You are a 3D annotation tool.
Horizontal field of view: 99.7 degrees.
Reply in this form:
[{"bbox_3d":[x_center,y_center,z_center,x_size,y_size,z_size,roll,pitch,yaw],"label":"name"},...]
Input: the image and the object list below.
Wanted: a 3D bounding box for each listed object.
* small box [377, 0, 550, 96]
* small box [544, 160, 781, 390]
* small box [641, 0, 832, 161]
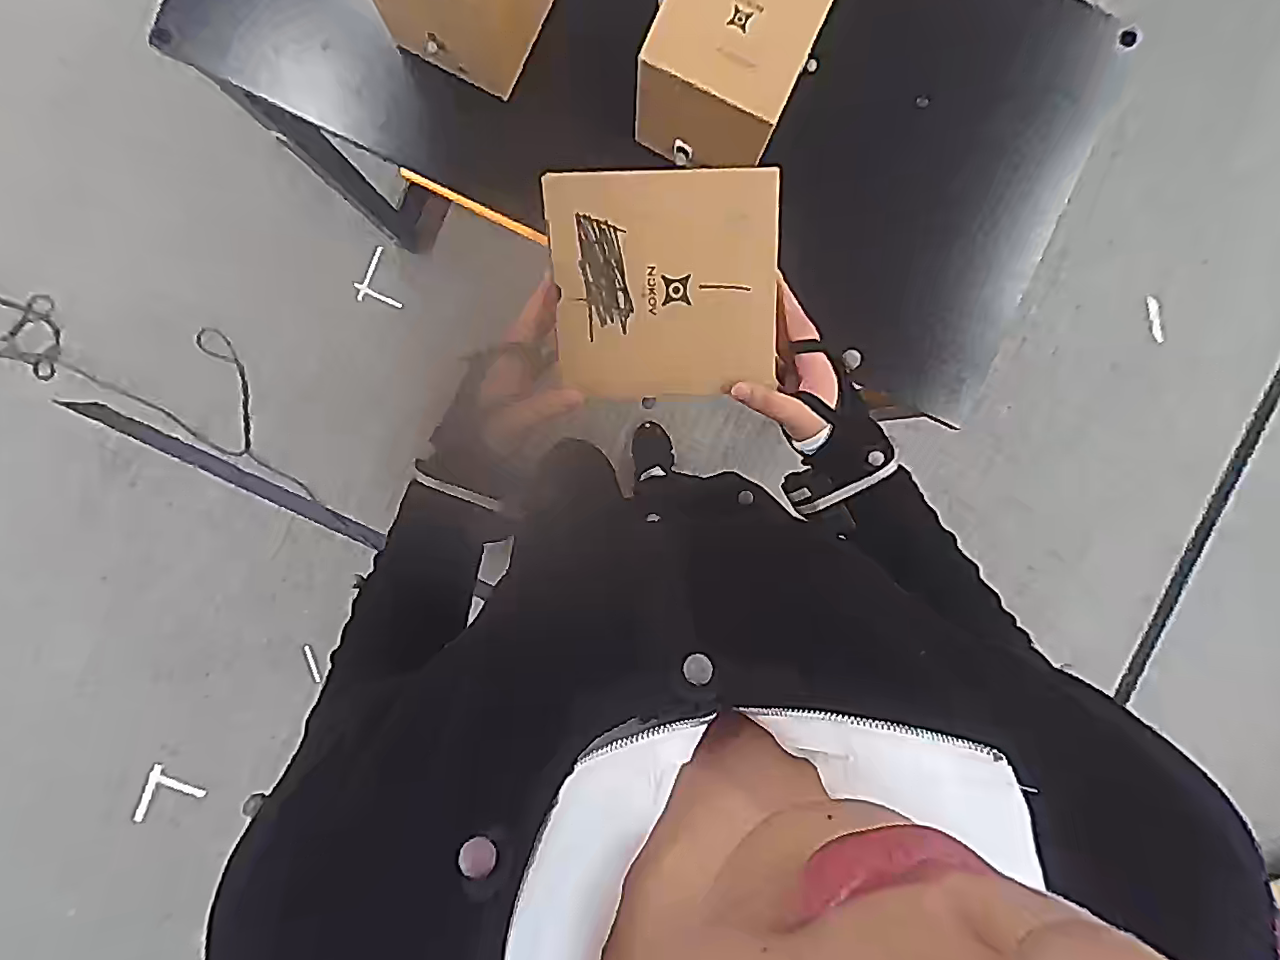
[{"bbox_3d":[-0.212,-0.614,0.633,0.168,0.176,0.179,26,92,-3],"label":"small box"},{"bbox_3d":[0.015,-0.172,0.489,0.179,0.176,0.168,-3,105,-3],"label":"small box"},{"bbox_3d":[0.104,-0.497,0.656,0.168,0.176,0.179,24,93,-2],"label":"small box"}]
